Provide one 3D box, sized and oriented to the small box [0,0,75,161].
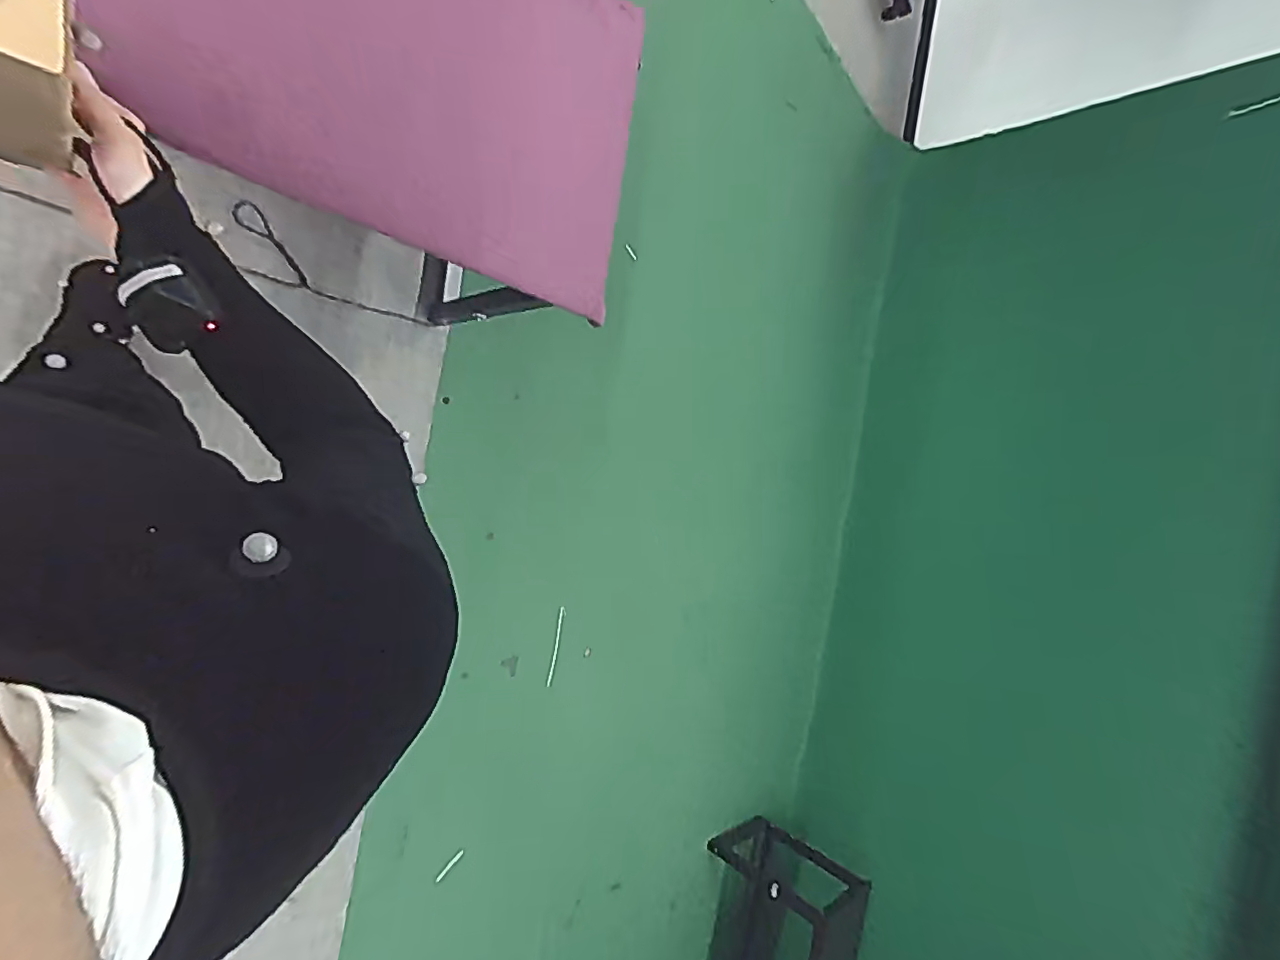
[{"bbox_3d":[-0.475,-0.330,0.339,0.168,0.176,0.179,1,104,-47],"label":"small box"}]
